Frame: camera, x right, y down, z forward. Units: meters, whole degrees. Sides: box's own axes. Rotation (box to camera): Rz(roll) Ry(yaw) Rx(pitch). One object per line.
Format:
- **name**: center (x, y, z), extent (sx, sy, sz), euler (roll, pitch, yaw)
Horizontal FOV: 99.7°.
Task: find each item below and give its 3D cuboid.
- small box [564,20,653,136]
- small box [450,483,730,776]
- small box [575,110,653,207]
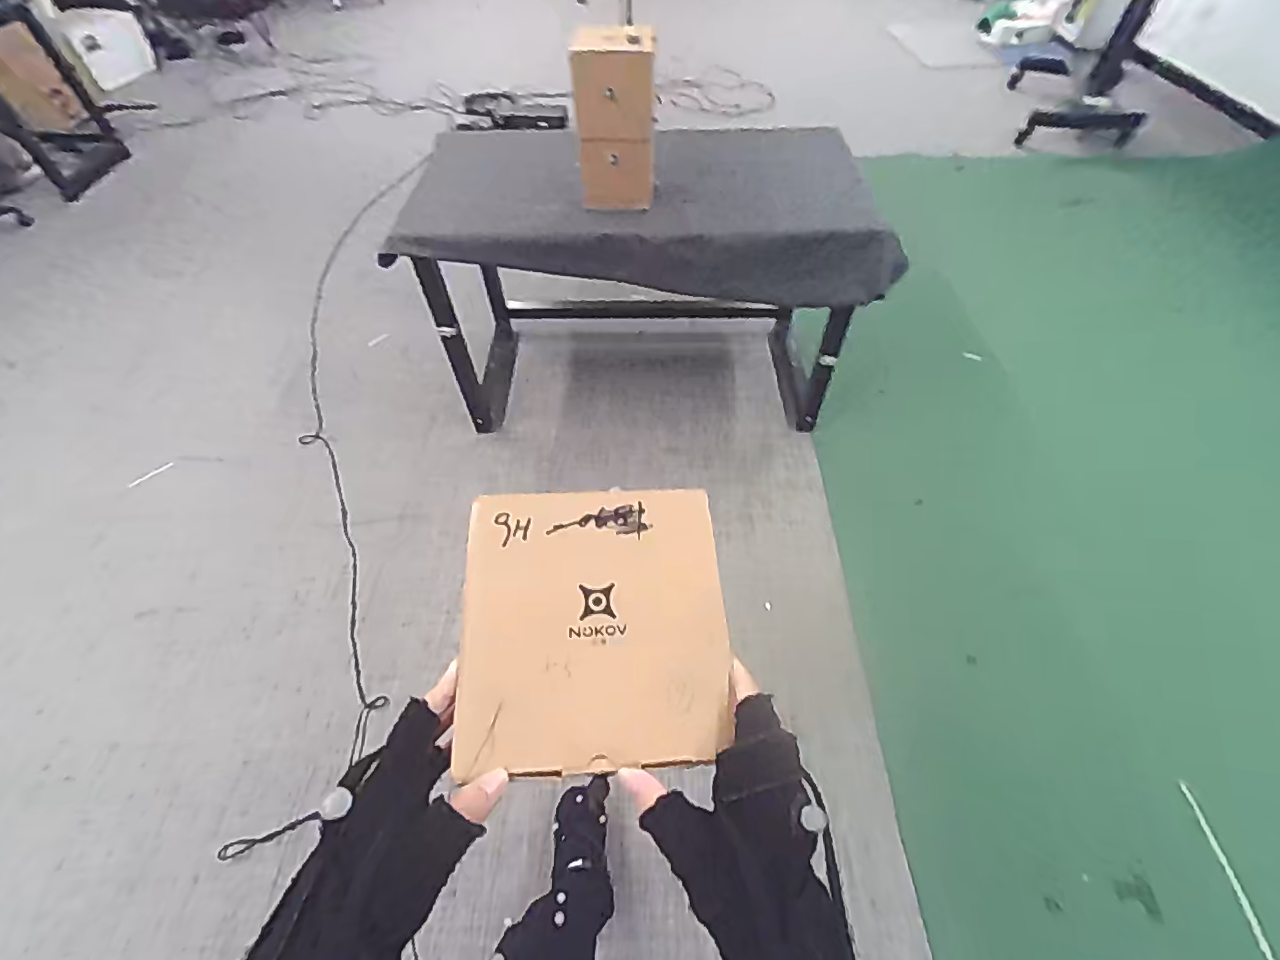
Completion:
- **small box**: center (-0.061, -0.893, 1.208), extent (0.179, 0.176, 0.168), euler (1, 54, 4)
- **small box**: center (-0.037, 0.118, 0.417), extent (0.168, 0.176, 0.179), euler (-3, 63, -6)
- **small box**: center (-0.058, -0.799, 1.343), extent (0.179, 0.176, 0.168), euler (1, 54, 2)
